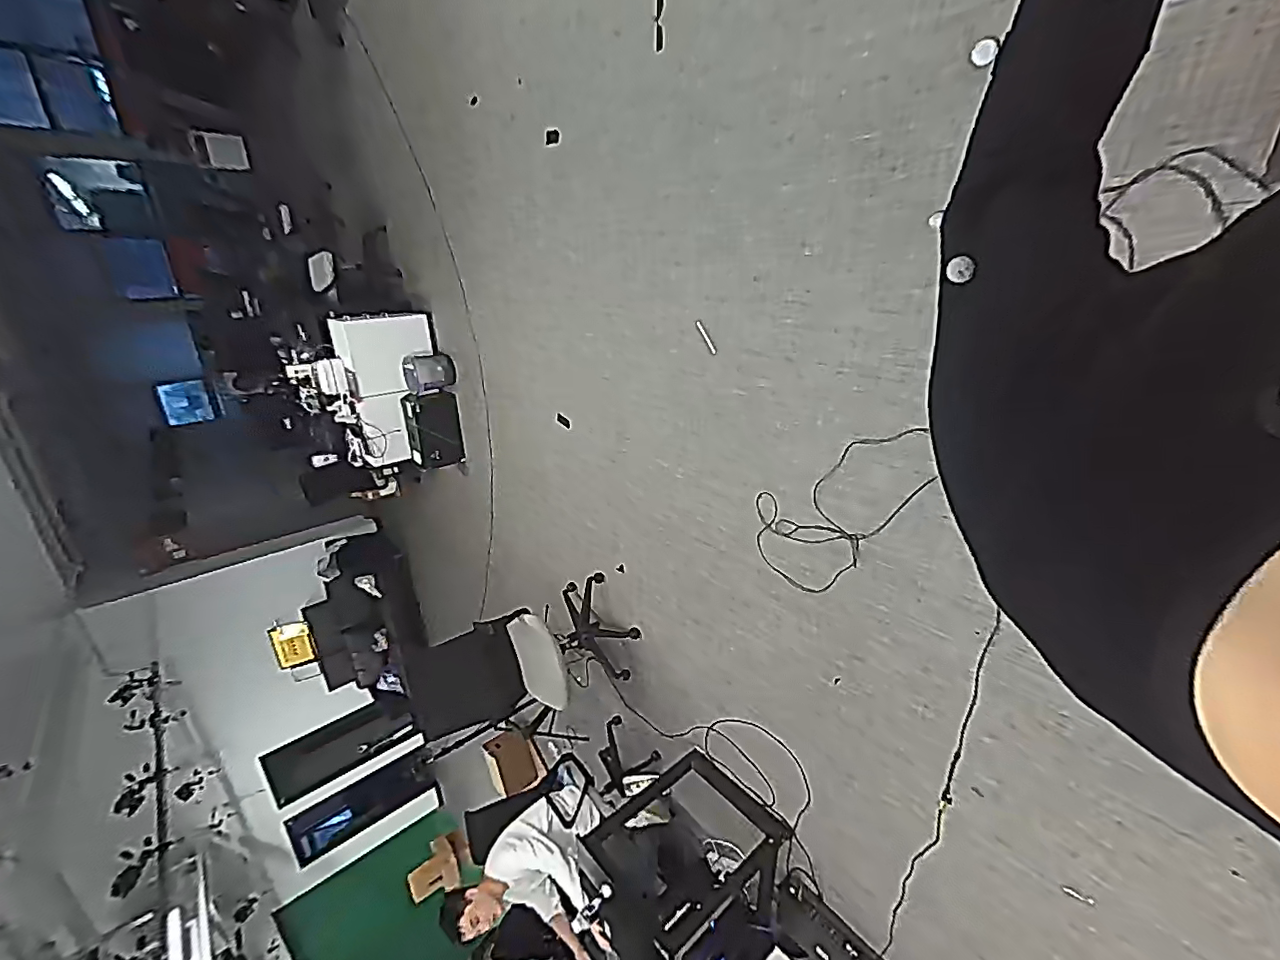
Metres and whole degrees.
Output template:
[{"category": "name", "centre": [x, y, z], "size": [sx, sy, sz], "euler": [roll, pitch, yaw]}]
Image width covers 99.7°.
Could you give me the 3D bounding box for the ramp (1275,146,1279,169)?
[{"category": "ramp", "centre": [1.155, -0.893, 0.514], "size": [0.509, 0.206, 0.991], "euler": [20, 121, 45]}]
